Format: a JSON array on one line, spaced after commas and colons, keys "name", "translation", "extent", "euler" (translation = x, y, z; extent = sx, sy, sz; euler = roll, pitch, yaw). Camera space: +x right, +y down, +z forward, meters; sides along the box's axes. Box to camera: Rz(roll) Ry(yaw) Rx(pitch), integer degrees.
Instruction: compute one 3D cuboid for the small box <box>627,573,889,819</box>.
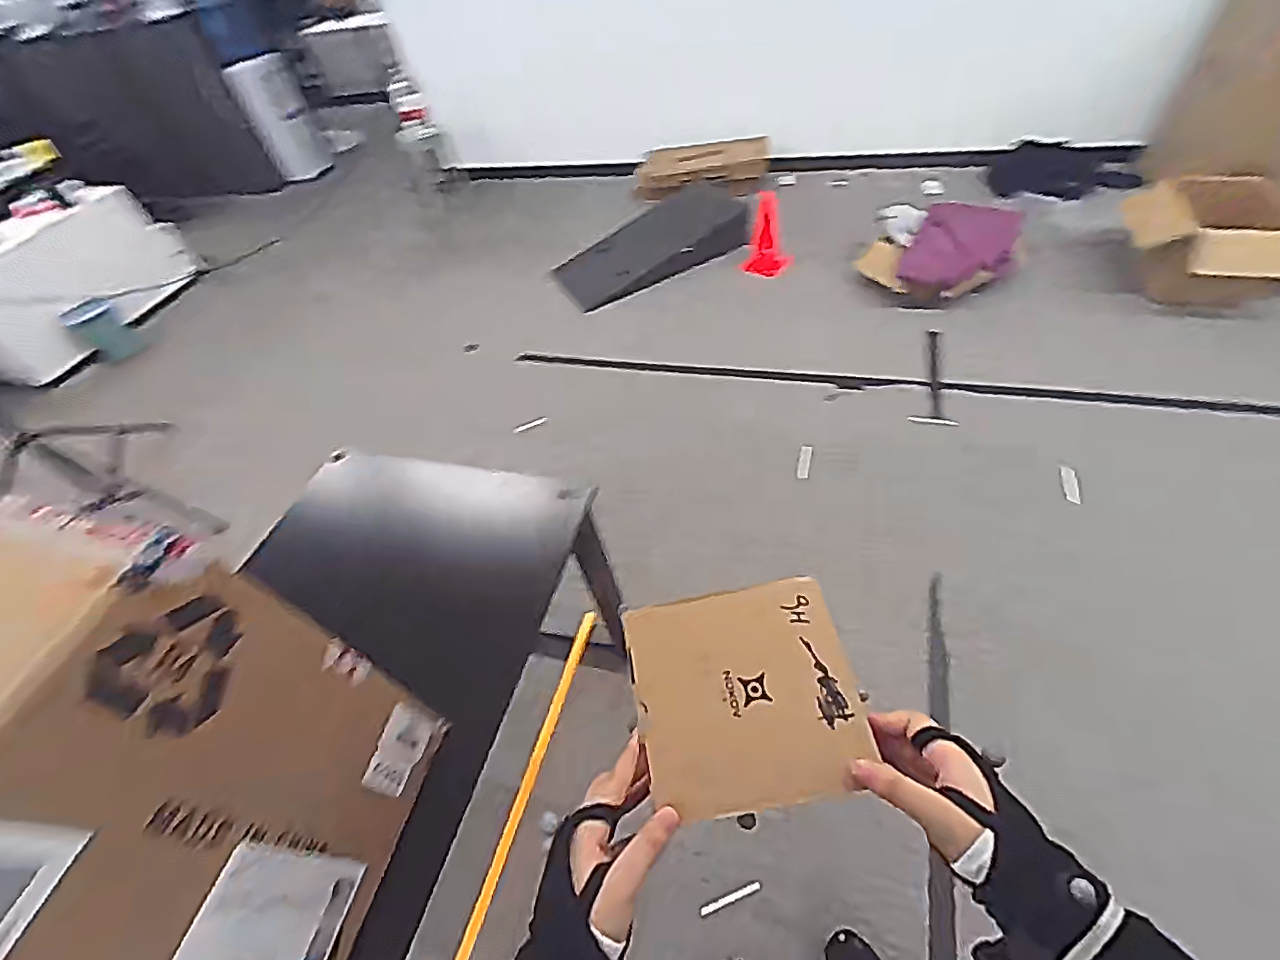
[{"name": "small box", "translation": [0.094, 0.205, 0.498], "extent": [0.179, 0.176, 0.168], "euler": [-11, 59, 1]}]
